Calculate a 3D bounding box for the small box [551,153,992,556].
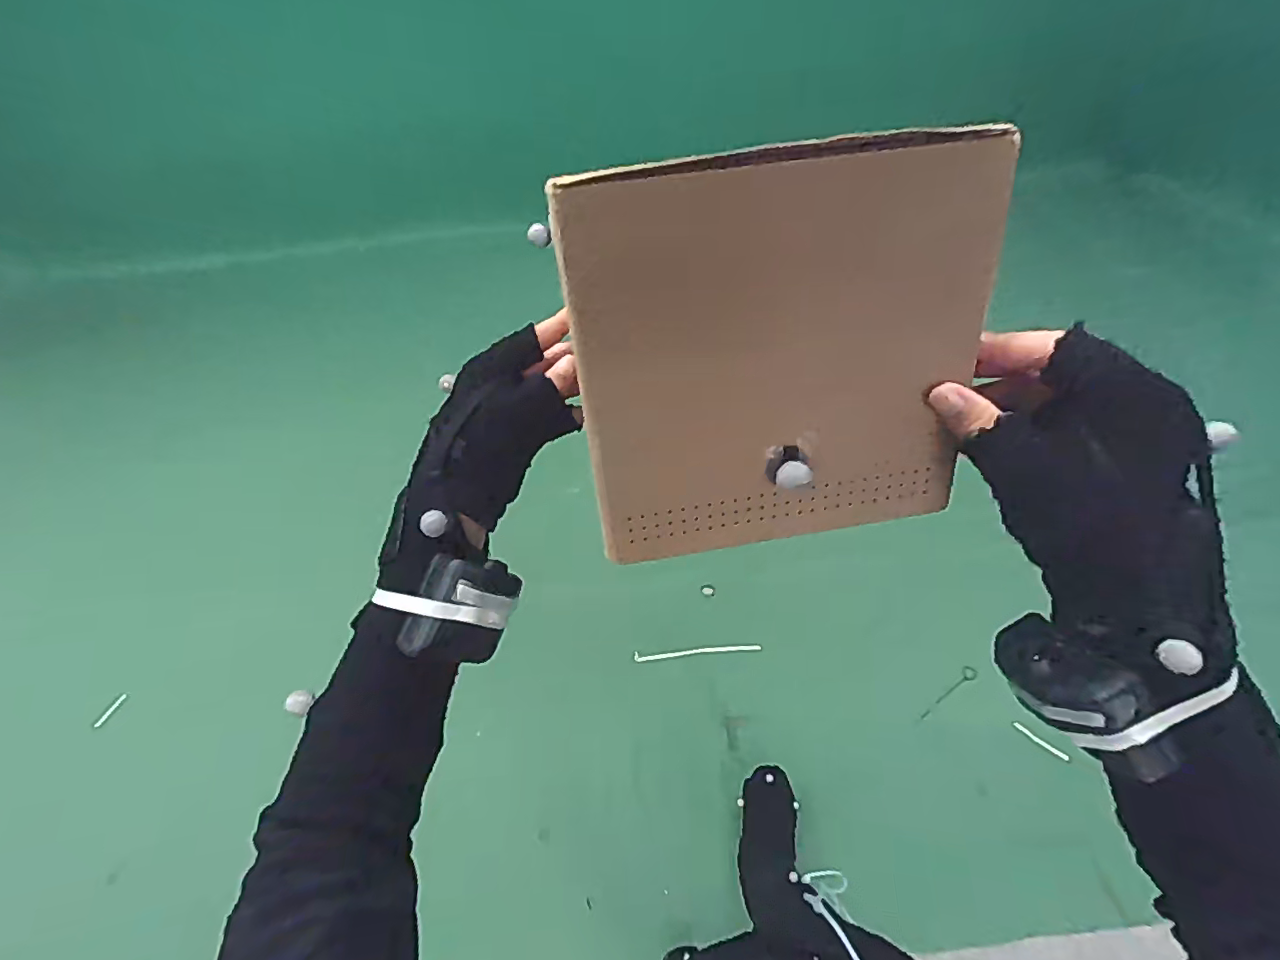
[{"bbox_3d":[0.050,-0.078,0.311,0.179,0.176,0.168,-9,28,-4],"label":"small box"}]
